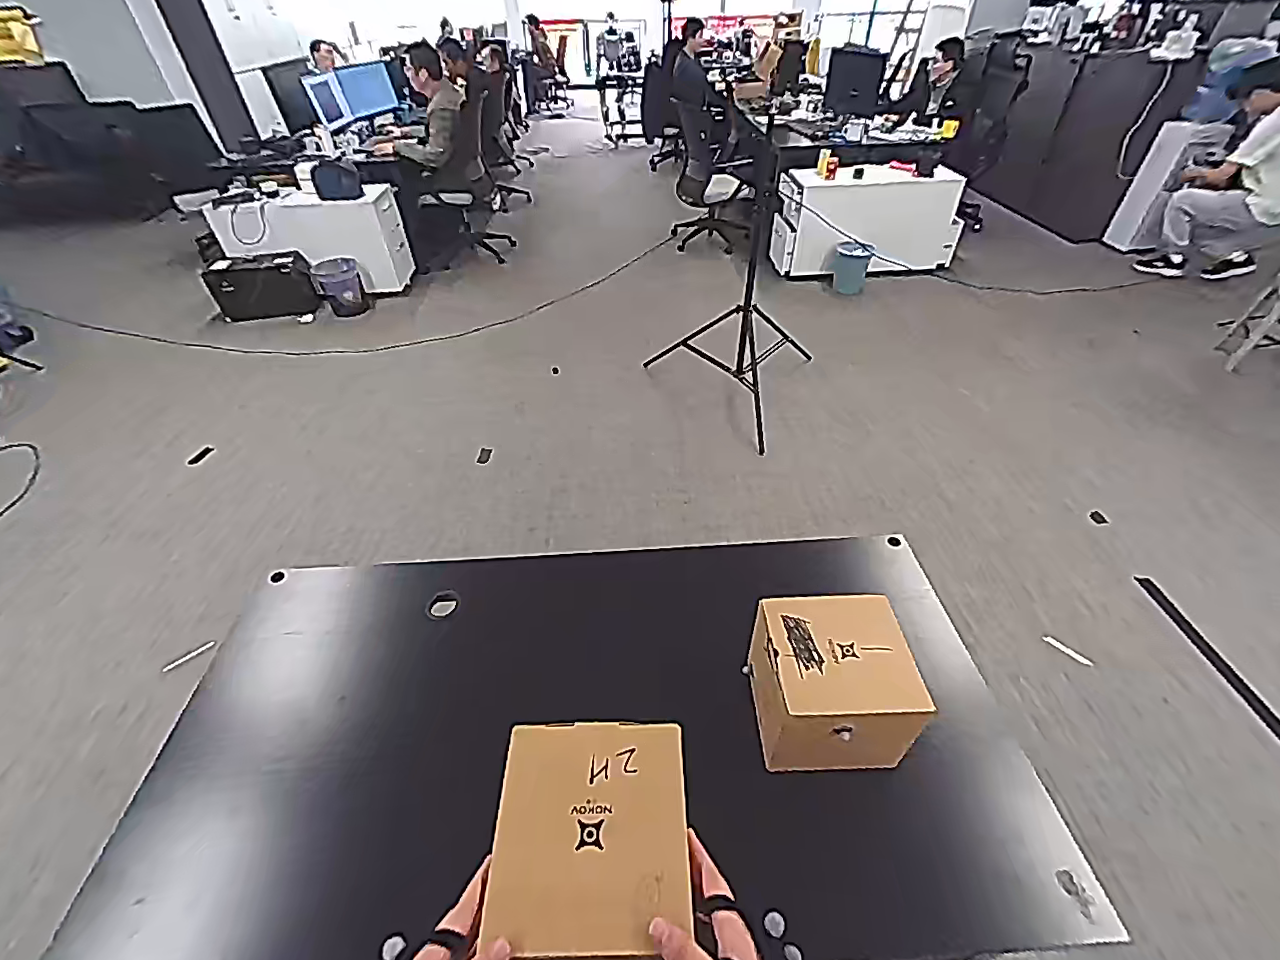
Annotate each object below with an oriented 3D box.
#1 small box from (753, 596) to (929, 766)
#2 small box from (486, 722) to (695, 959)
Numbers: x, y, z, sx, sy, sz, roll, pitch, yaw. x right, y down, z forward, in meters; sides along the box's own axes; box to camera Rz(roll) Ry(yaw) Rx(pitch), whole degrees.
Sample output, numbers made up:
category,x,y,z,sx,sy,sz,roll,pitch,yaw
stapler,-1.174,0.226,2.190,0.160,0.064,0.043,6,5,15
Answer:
category,x,y,z,sx,sy,sz,roll,pitch,yaw
small box,0.257,0.279,0.747,0.179,0.176,0.168,-2,42,0
small box,-0.037,0.360,0.526,0.168,0.176,0.179,1,39,-1
